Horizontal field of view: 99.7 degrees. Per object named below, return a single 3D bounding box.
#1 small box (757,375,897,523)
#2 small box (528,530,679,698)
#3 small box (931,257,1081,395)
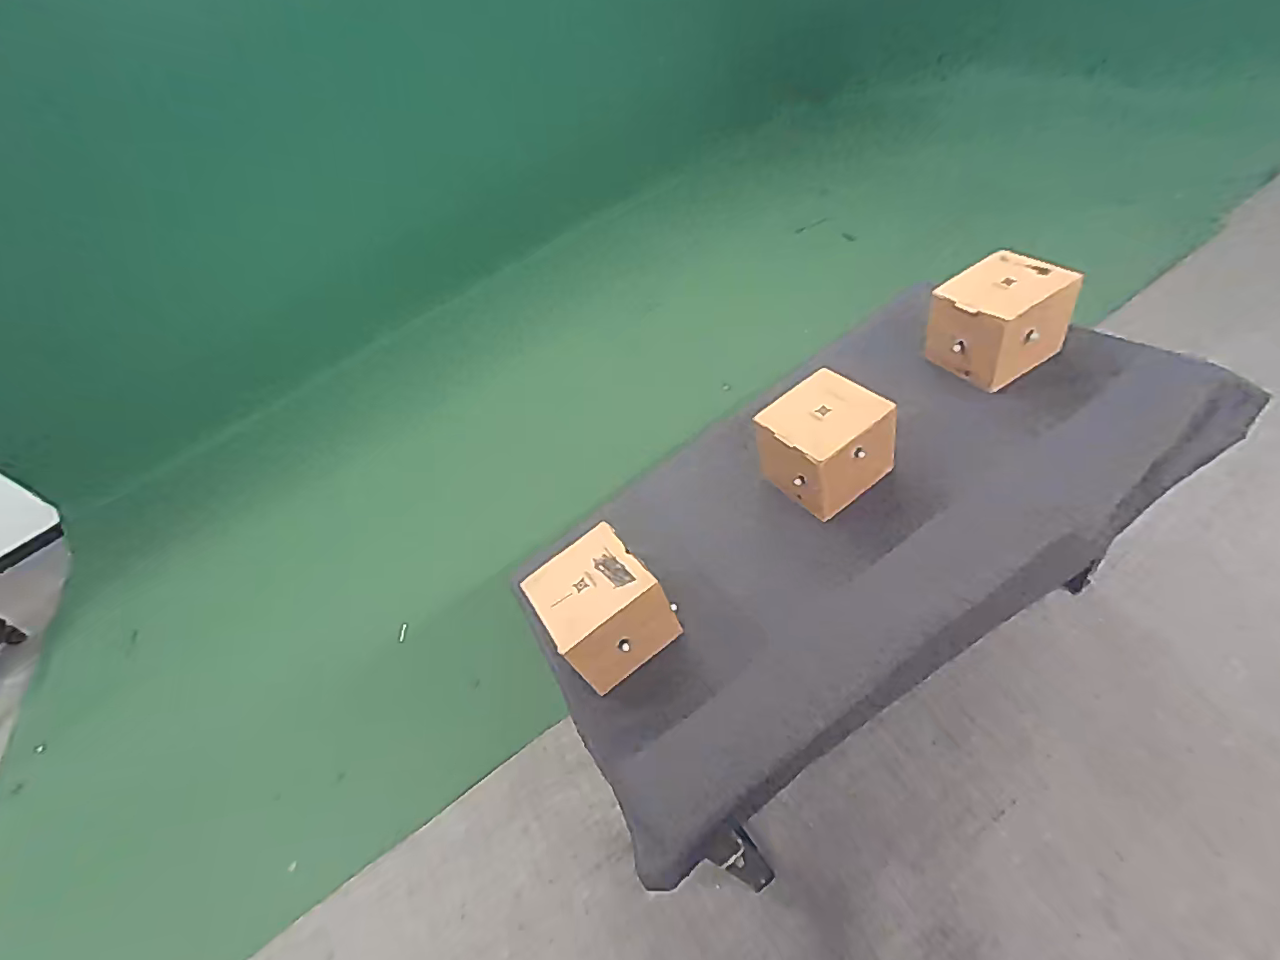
[{"bbox_3d":[0.343,-0.053,0.990,0.179,0.176,0.168,-35,47,-11],"label":"small box"},{"bbox_3d":[-0.051,0.223,0.901,0.179,0.176,0.168,-36,46,-10],"label":"small box"},{"bbox_3d":[0.699,-0.297,1.055,0.179,0.176,0.168,-31,46,-5],"label":"small box"}]
